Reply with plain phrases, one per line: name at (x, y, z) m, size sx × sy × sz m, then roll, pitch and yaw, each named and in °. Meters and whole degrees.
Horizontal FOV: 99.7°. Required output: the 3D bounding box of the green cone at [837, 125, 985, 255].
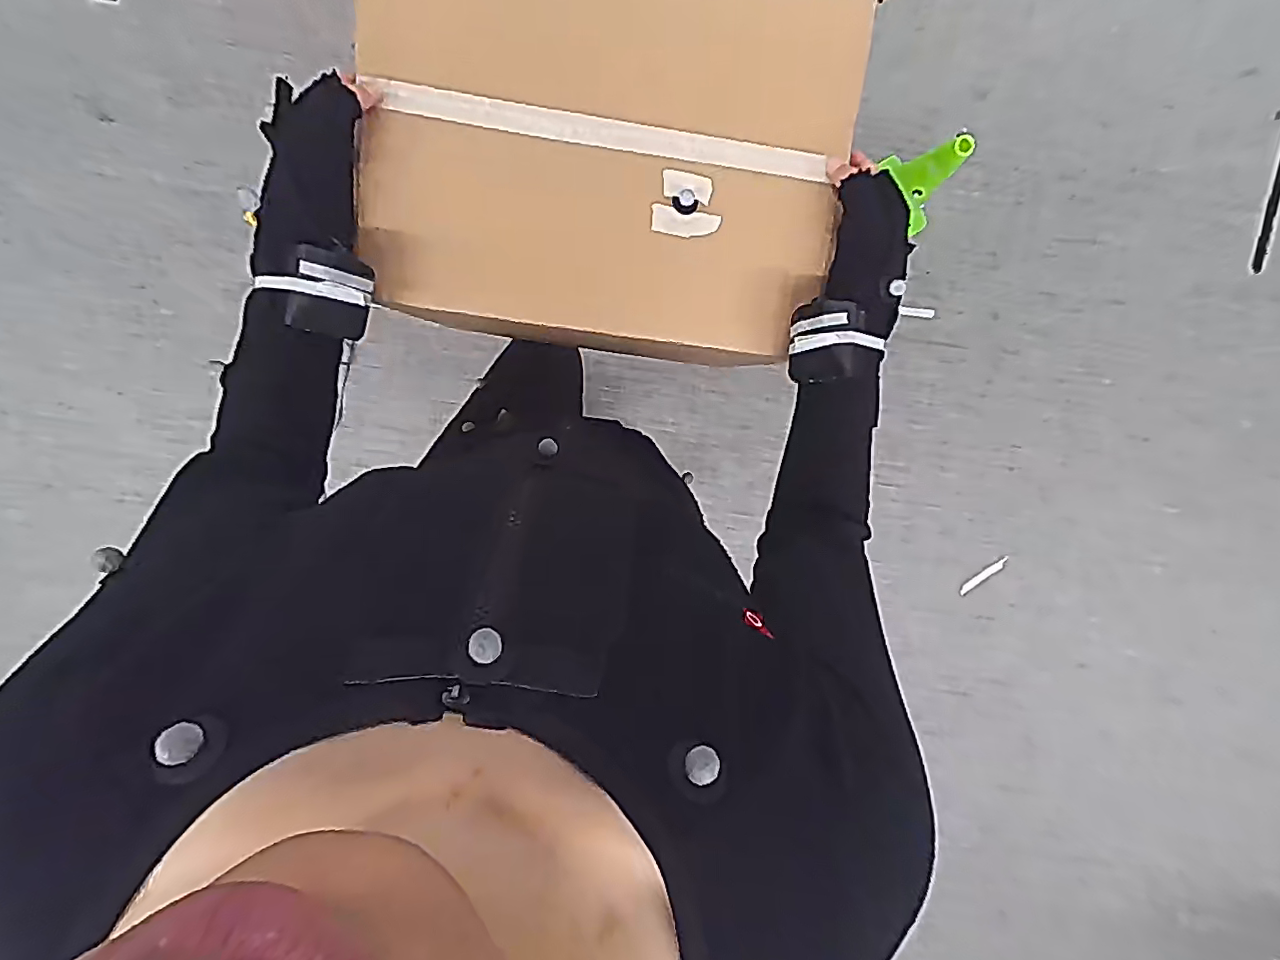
green cone at (0.628, -0.680, 1.211) m, size 0.202 × 0.368 × 0.200 m, roll -30°, pitch 99°, yaw 1°

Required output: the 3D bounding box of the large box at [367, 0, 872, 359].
large box at (-0.033, -0.317, 0.595) m, size 0.408 × 0.320 × 0.320 m, roll 6°, pitch 101°, yaw -7°
